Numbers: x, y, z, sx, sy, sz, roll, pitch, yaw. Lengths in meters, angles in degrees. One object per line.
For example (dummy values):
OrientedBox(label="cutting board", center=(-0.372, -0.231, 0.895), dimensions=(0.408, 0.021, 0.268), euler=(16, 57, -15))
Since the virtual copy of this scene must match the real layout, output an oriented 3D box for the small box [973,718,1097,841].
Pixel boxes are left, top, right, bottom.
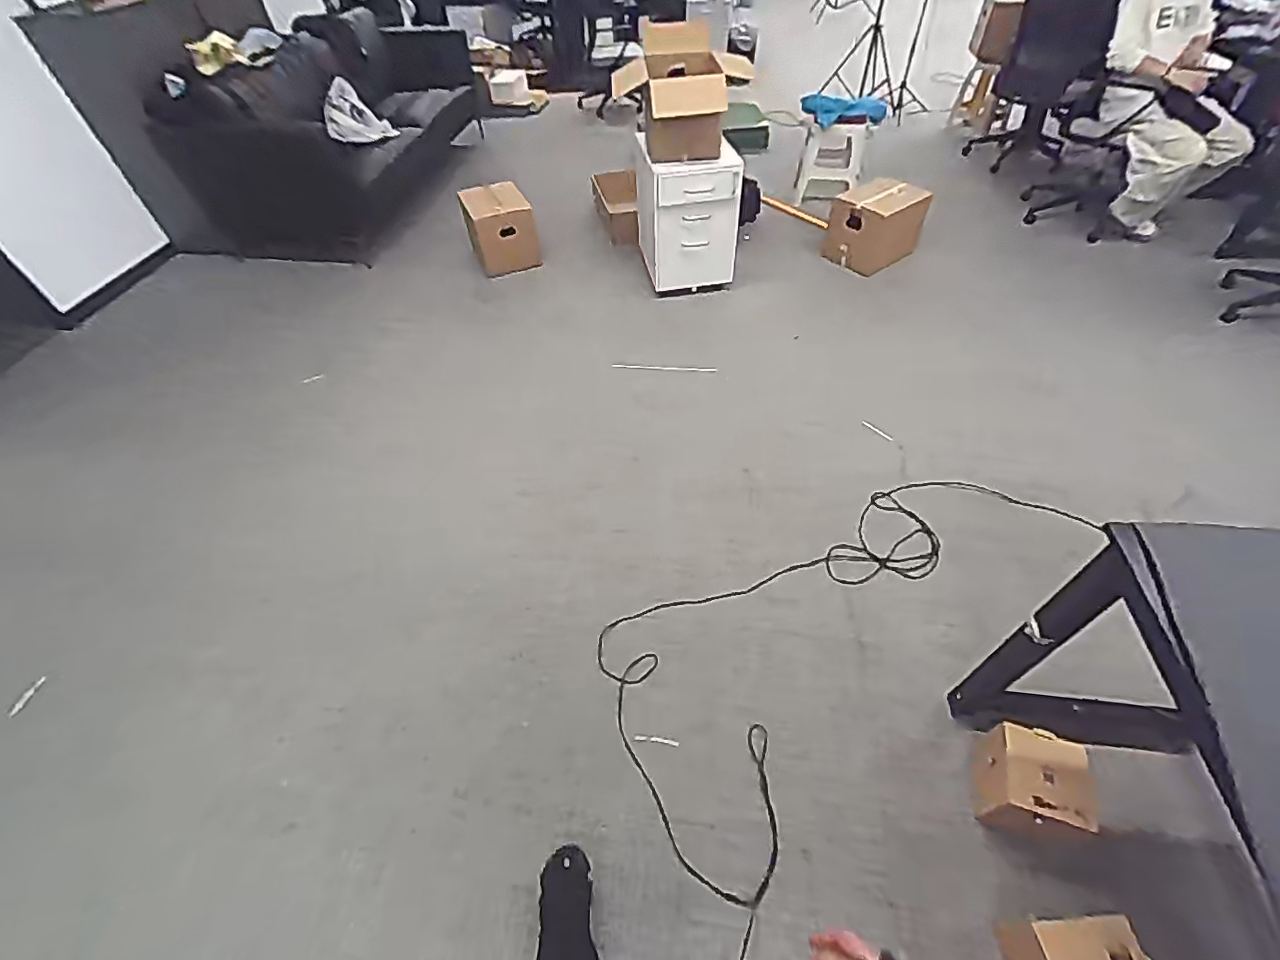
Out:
OrientedBox(label="small box", center=(0.869, 0.673, 1.213), dimensions=(0.168, 0.176, 0.179), euler=(14, 50, 15))
